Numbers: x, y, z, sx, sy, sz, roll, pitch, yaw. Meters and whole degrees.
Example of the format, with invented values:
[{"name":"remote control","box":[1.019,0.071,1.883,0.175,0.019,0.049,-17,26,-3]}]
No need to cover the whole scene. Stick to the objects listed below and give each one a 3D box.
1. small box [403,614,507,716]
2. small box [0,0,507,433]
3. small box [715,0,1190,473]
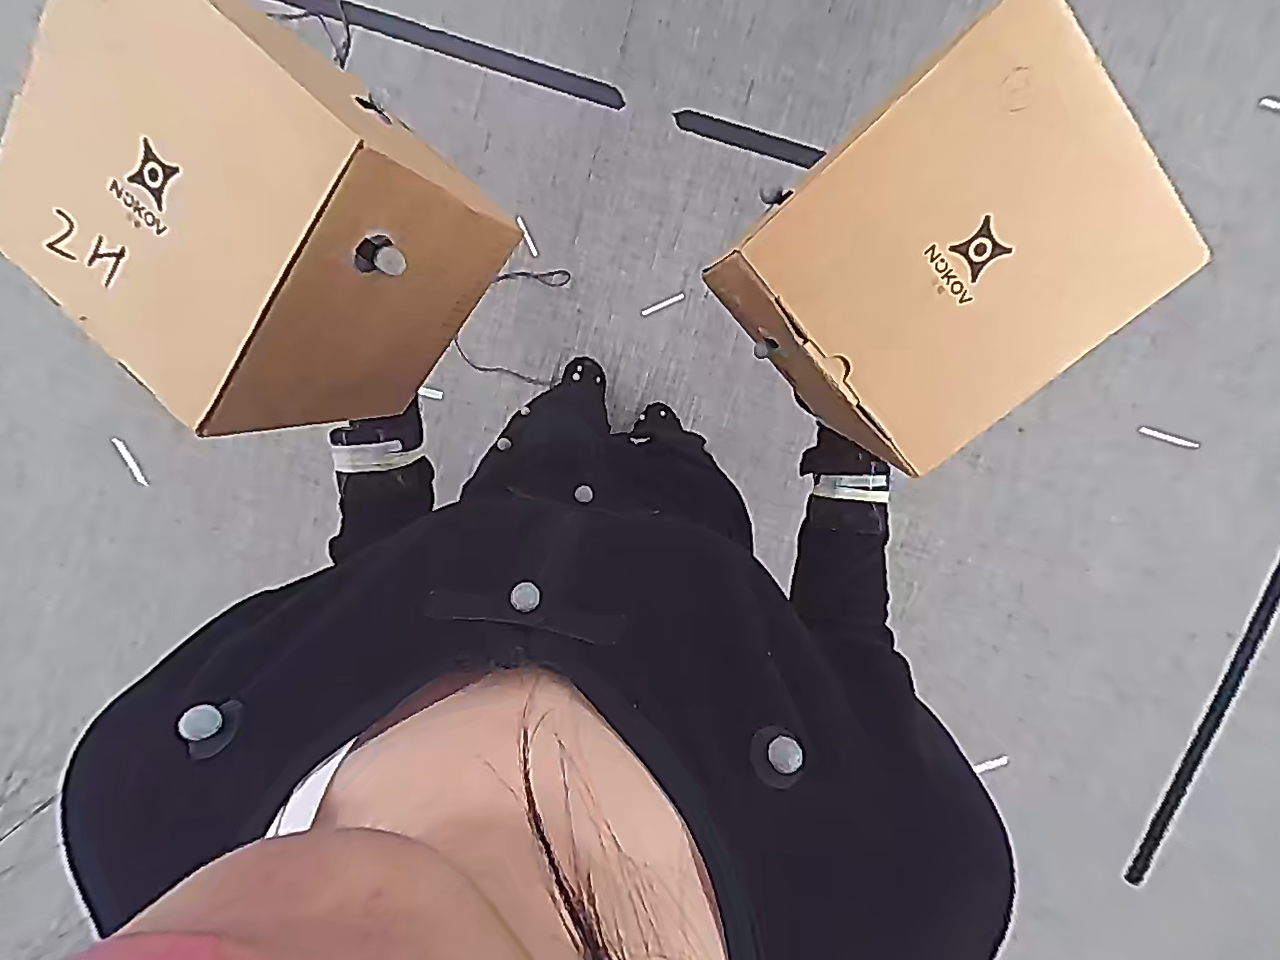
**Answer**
[{"name":"small box","box":[-0.413,0.417,1.175,0.179,0.176,0.168,25,98,0]},{"name":"small box","box":[-0.209,-0.154,0.336,0.168,0.176,0.179,43,107,2]},{"name":"small box","box":[0.169,-0.139,0.355,0.179,0.176,0.168,-41,103,12]}]
